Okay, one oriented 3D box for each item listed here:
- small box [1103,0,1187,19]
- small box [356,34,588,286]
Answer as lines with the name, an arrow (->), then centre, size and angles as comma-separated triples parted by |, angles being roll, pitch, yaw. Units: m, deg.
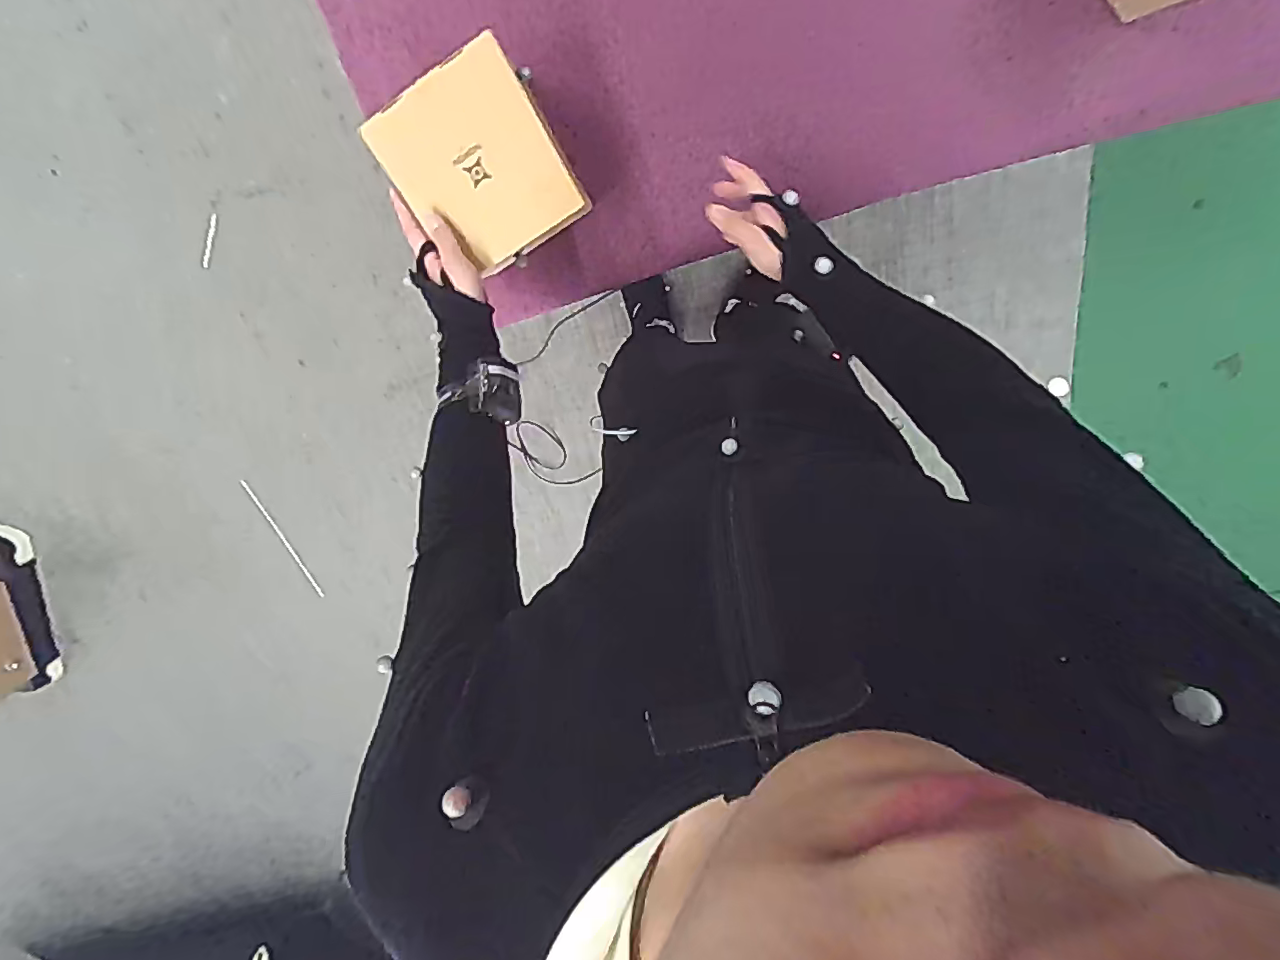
small box -> 0.571, -0.610, 0.520 | 0.168, 0.176, 0.179 | 37, 111, -17
small box -> -0.174, -0.353, 0.627 | 0.168, 0.176, 0.179 | -28, 112, 11
